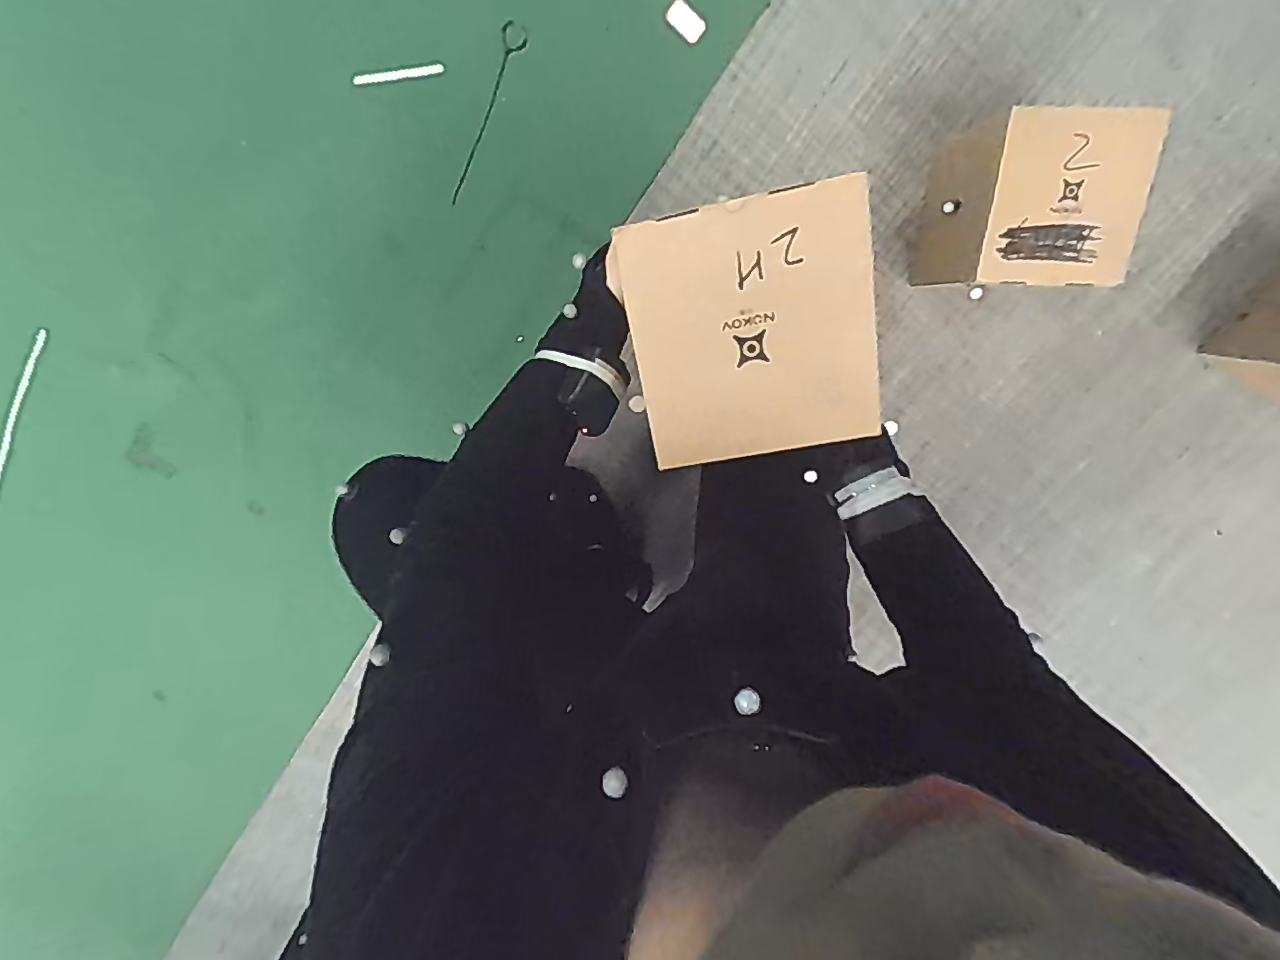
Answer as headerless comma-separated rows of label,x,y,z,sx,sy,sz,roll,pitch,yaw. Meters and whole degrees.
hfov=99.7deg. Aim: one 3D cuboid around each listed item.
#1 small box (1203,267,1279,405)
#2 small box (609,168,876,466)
small box,0.917,-0.187,0.697,0.179,0.176,0.168,28,108,-6
small box,0.082,-0.130,0.445,0.168,0.176,0.179,-9,109,9
